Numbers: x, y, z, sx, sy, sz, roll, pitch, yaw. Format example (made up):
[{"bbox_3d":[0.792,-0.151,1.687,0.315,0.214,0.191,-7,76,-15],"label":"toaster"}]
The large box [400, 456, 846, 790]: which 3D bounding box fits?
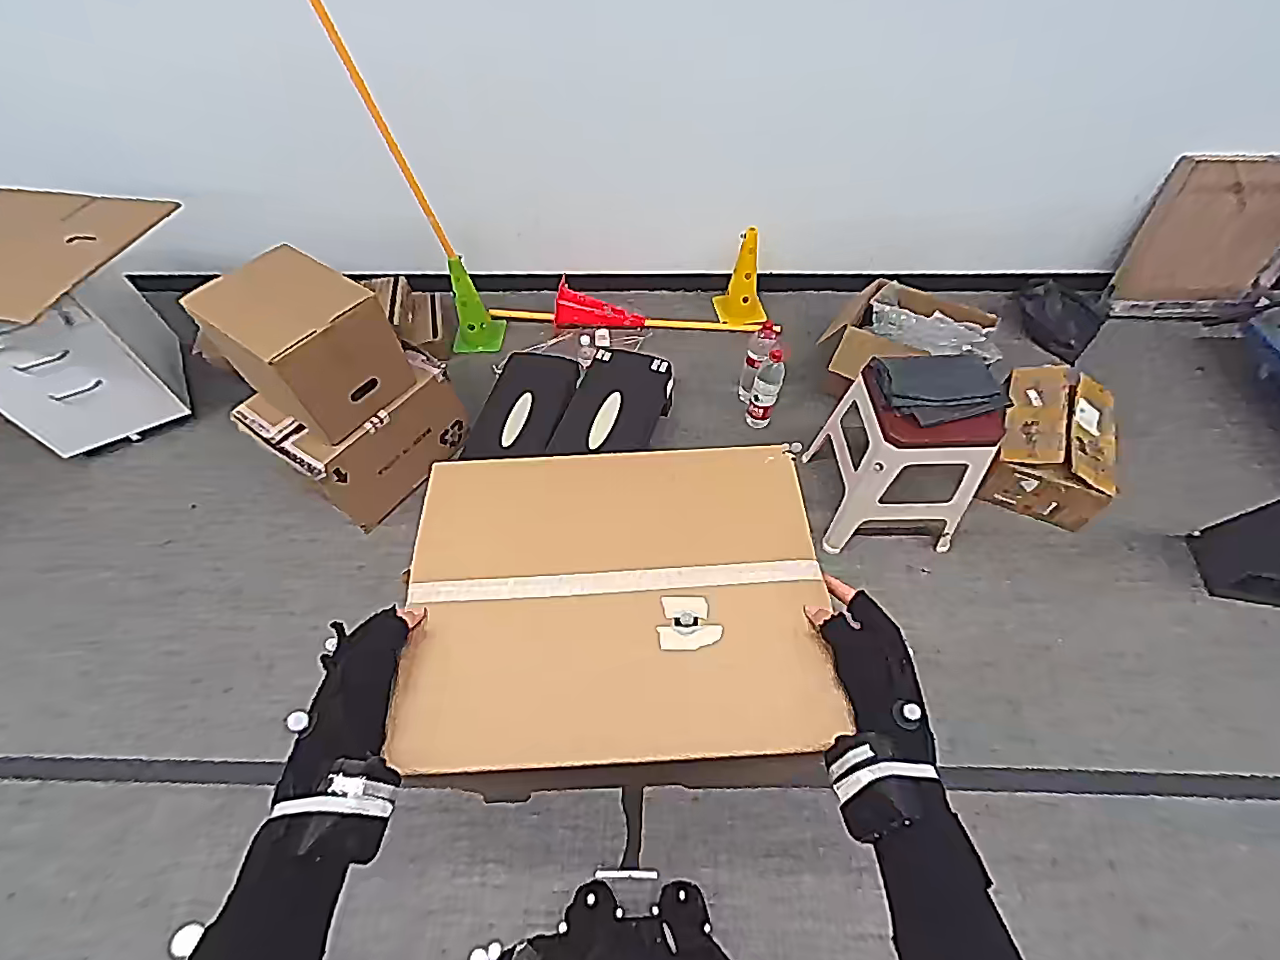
[{"bbox_3d":[-0.022,0.191,0.677,0.408,0.320,0.320,-2,58,-1],"label":"large box"}]
